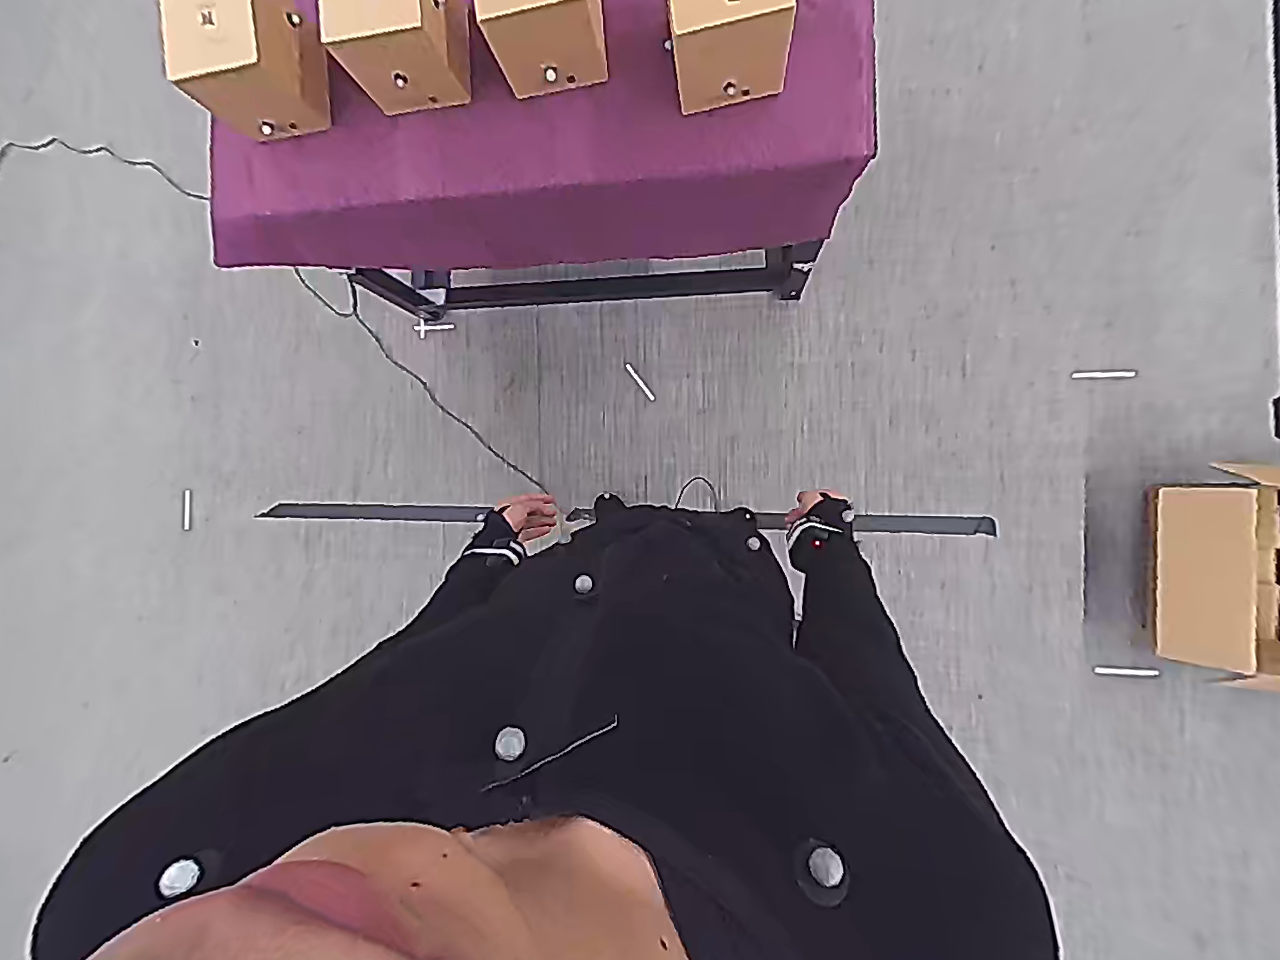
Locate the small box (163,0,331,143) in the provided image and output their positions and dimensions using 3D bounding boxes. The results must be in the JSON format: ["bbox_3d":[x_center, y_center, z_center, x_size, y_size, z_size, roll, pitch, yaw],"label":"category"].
[{"bbox_3d":[-0.664,-0.726,0.929,0.168,0.176,0.179,-5,89,8],"label":"small box"}]

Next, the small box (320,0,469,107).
[{"bbox_3d":[-0.394,-0.752,0.890,0.168,0.176,0.179,-2,89,8],"label":"small box"}]

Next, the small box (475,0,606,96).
[{"bbox_3d":[-0.155,-0.762,0.857,0.168,0.176,0.179,-6,90,8],"label":"small box"}]
